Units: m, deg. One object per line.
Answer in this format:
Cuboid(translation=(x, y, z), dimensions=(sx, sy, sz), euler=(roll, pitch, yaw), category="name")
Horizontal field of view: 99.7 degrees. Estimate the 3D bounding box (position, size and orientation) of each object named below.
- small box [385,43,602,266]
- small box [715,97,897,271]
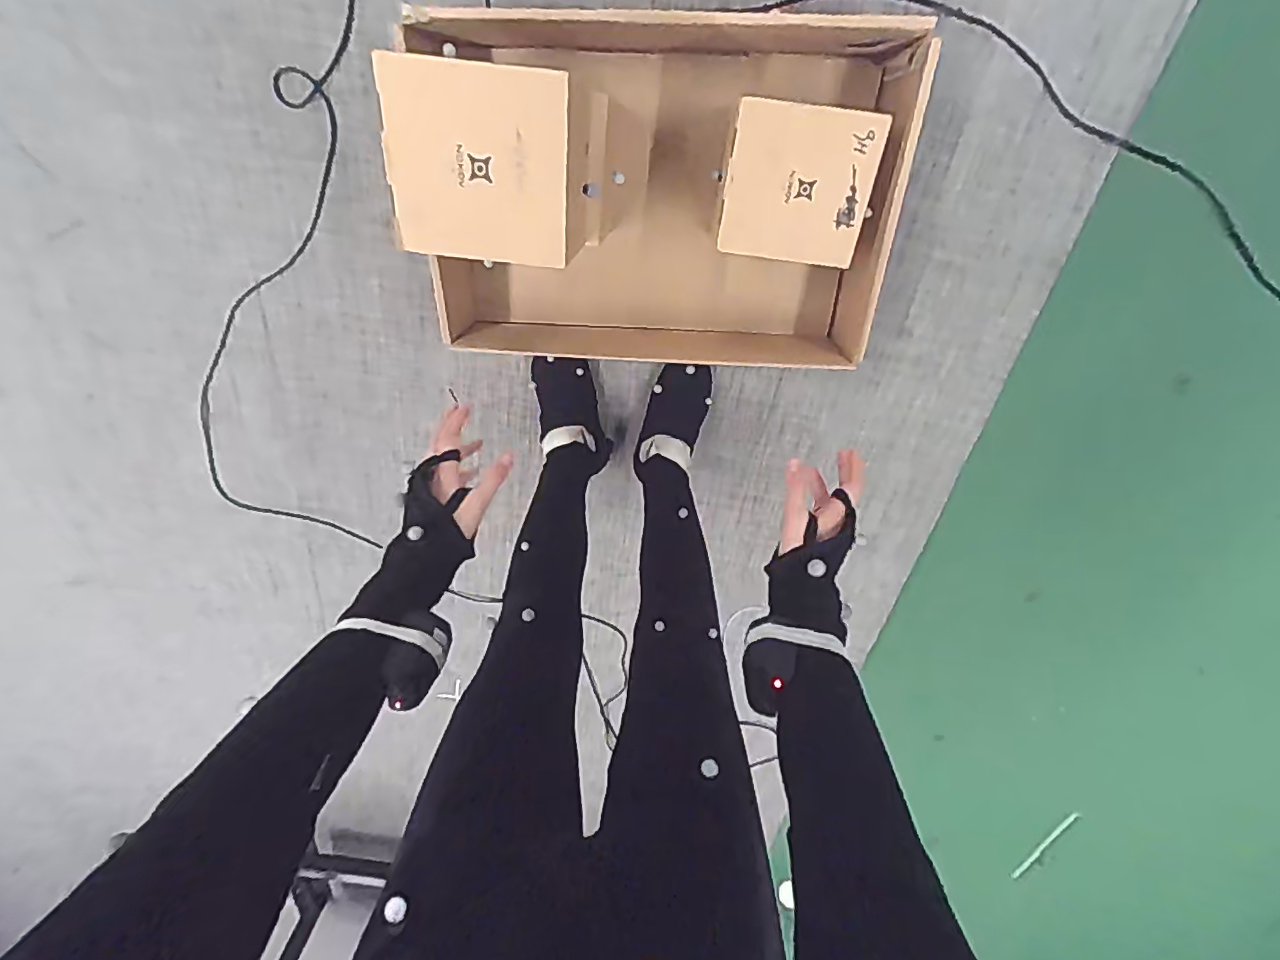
Cuboid(translation=(-0.142, -0.340, 0.580), dimensions=(0.179, 0.176, 0.168), euler=(7, 122, -1), category="small box")
Cuboid(translation=(0.200, -0.387, 0.717), dimensions=(0.179, 0.176, 0.168), euler=(9, 120, 0), category="small box")
